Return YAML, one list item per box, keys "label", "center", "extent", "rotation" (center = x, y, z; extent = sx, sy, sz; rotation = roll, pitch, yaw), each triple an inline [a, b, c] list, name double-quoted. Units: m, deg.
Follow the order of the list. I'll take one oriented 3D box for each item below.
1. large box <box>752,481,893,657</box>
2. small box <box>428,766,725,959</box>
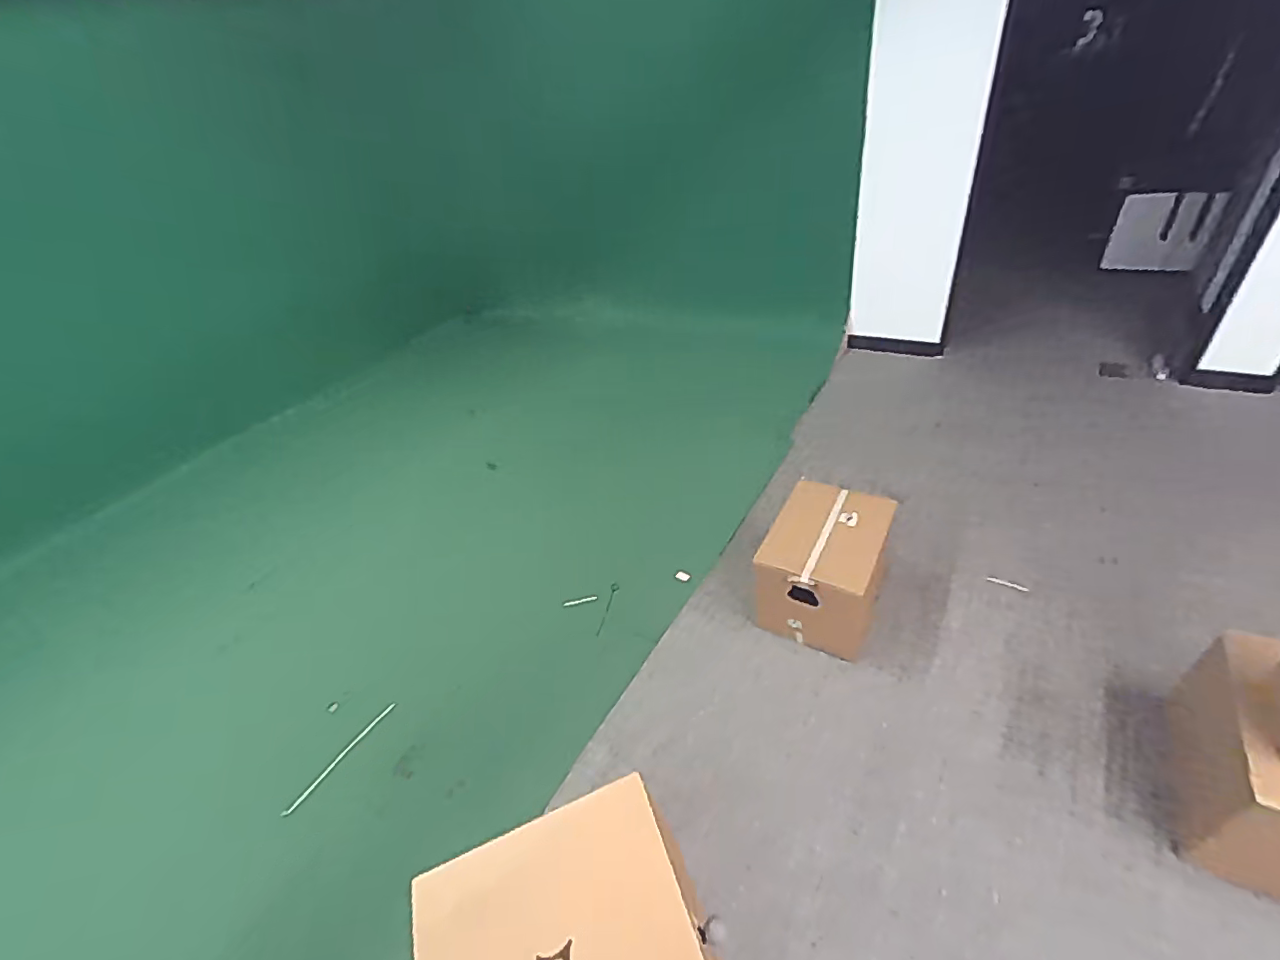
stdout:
- label: "large box"
  center: [0.575, 0.266, 1.699]
  extent: [0.320, 0.320, 0.408]
  rotation: [15, 45, 30]
- label: "small box"
  center: [-0.028, 0.342, 0.372]
  extent: [0.168, 0.176, 0.179]
  rotation: [-21, 44, -8]
